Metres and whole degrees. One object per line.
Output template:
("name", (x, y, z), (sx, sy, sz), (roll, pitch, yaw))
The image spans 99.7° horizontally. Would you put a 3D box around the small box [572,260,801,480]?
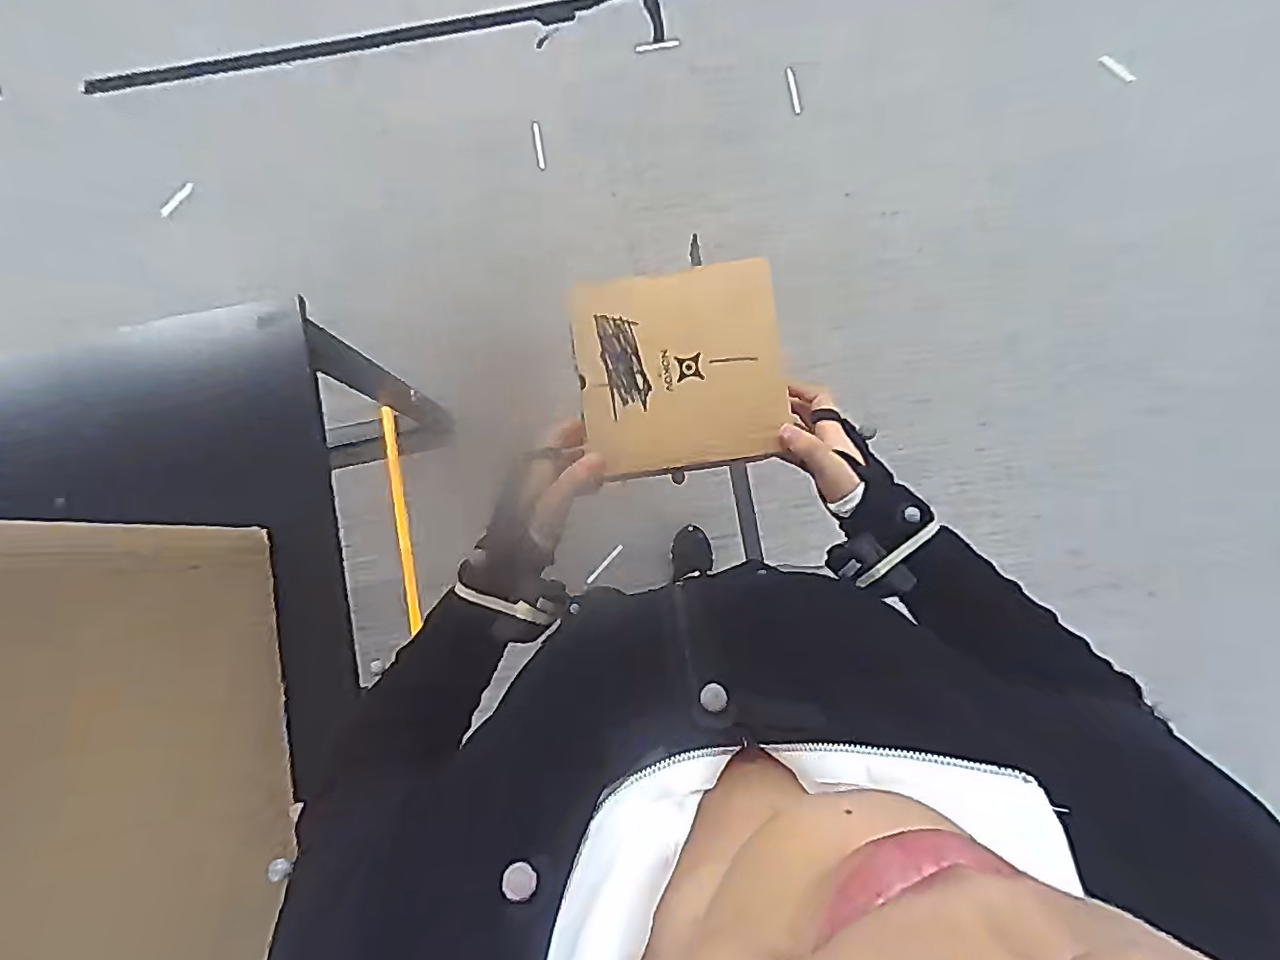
("small box", (0.042, -0.091, 0.531), (0.179, 0.176, 0.168), (-8, 90, 2))
